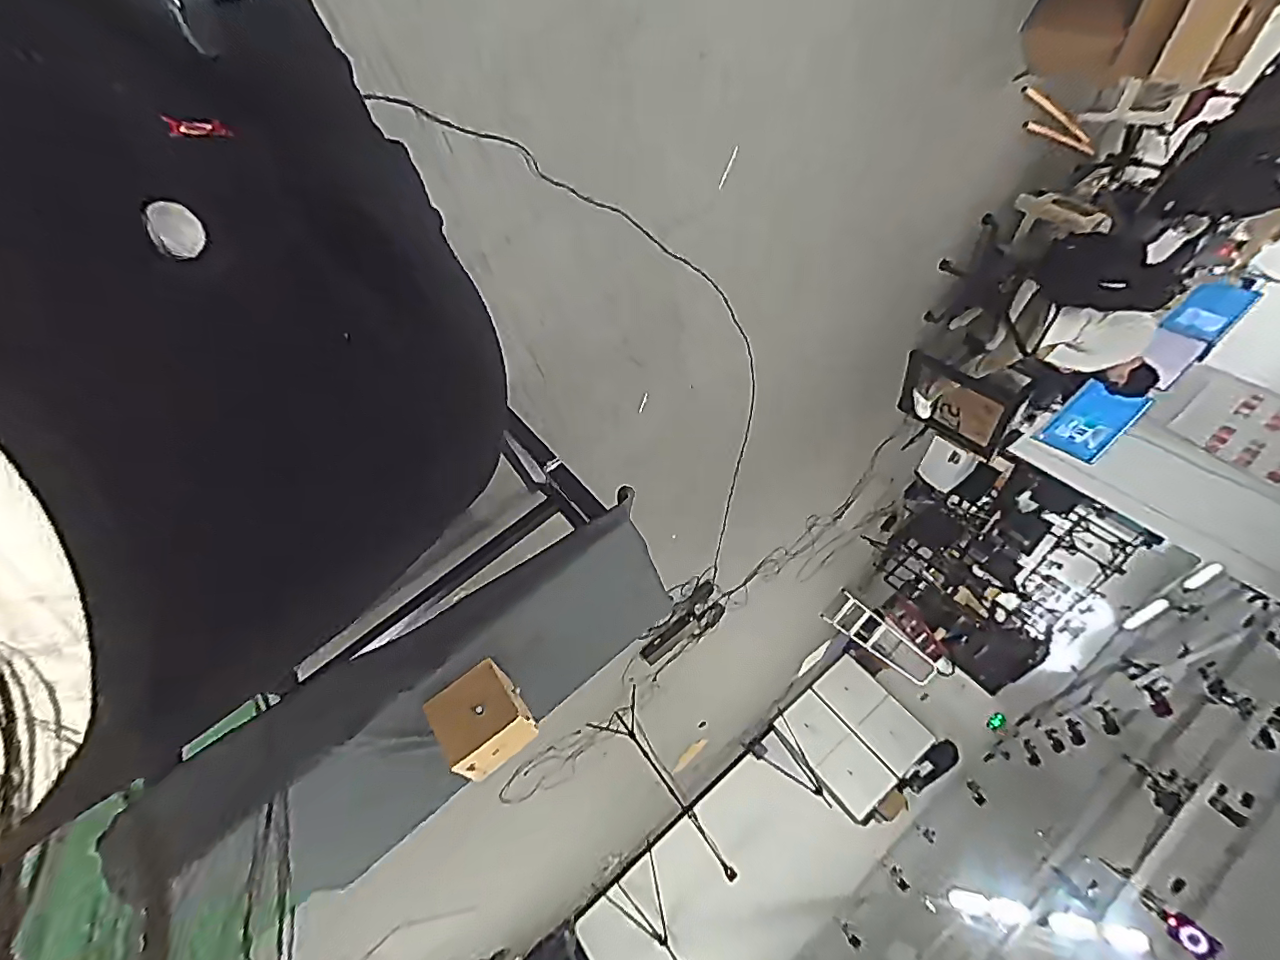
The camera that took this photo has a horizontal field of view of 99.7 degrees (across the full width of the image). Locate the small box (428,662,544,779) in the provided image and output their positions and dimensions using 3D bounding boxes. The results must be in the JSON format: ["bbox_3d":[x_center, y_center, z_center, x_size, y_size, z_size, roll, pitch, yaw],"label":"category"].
[{"bbox_3d":[-0.359,0.557,1.262,0.179,0.176,0.168,-36,146,-14],"label":"small box"}]
